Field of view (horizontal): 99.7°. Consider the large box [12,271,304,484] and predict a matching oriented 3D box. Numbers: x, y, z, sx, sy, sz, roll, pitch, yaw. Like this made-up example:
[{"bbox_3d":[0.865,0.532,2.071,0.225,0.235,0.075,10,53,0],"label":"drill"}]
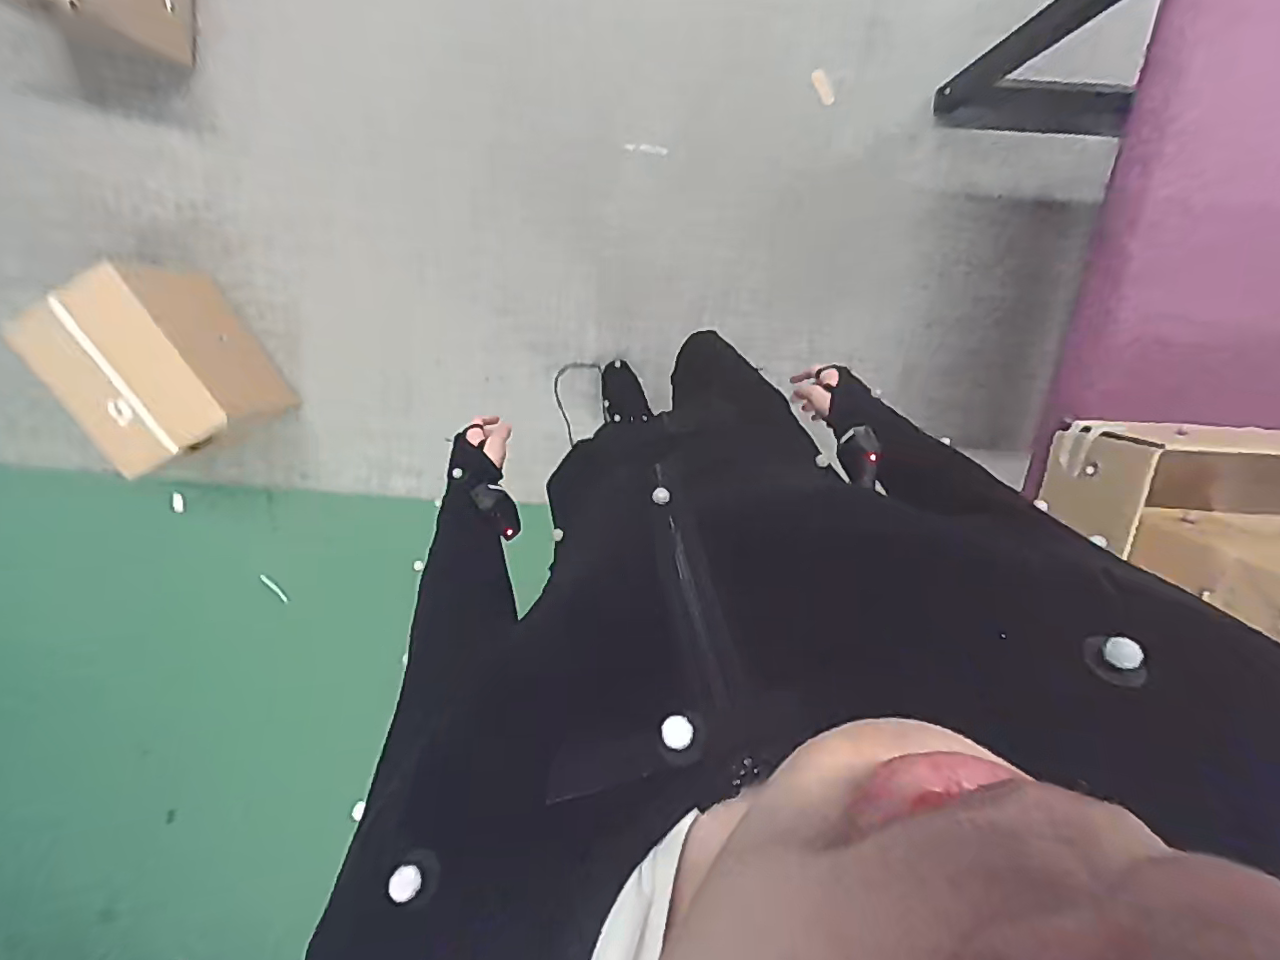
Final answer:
[{"bbox_3d":[-1.190,-0.265,1.389,0.320,0.320,0.408,-28,105,7],"label":"large box"}]
